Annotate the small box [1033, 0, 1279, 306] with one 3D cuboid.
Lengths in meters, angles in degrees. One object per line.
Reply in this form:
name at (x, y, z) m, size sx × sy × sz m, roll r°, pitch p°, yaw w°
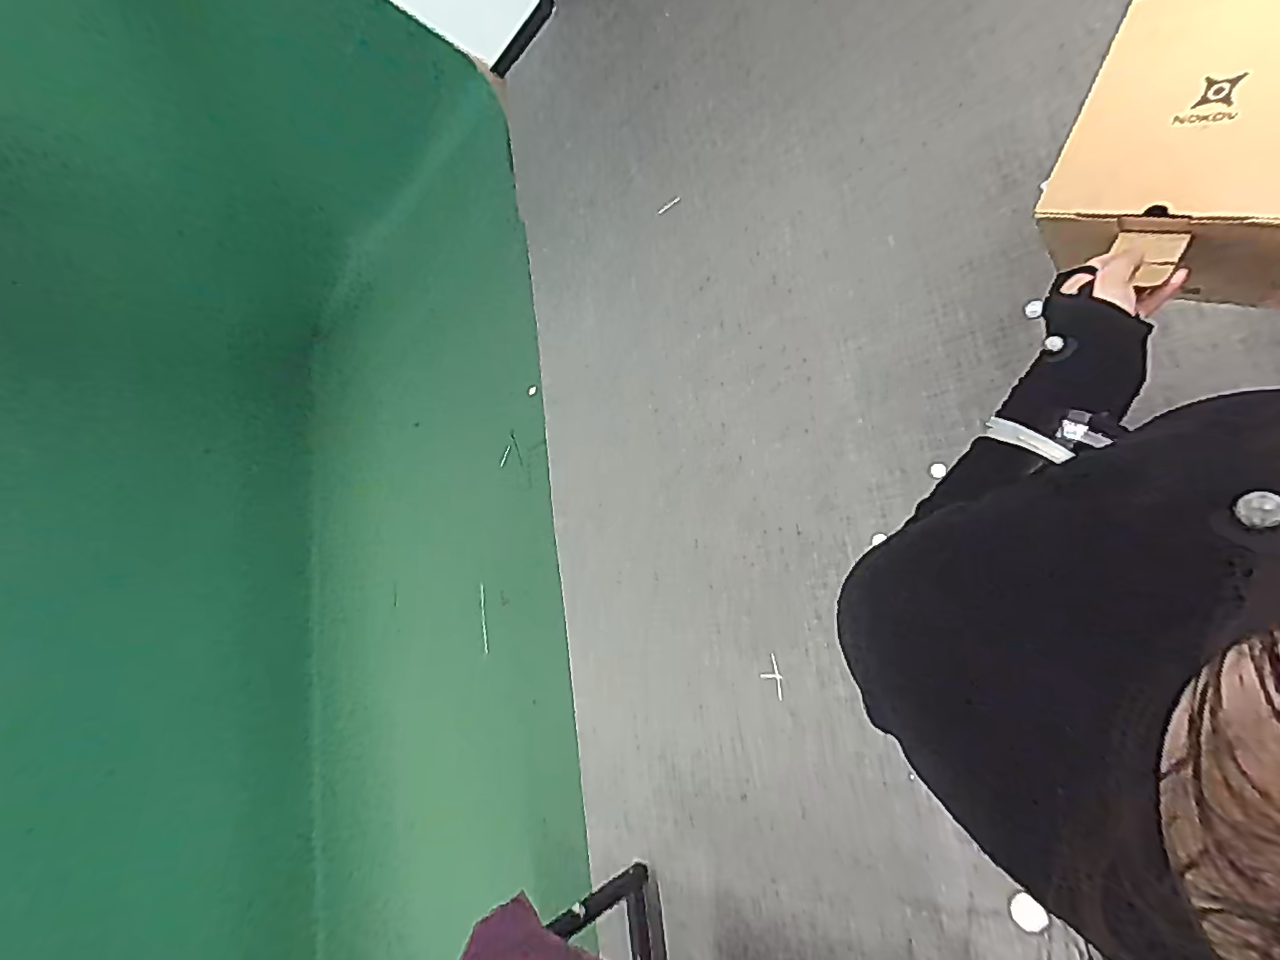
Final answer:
small box at (0.474, -0.270, 0.456) m, size 0.168 × 0.176 × 0.179 m, roll 31°, pitch 106°, yaw 43°
